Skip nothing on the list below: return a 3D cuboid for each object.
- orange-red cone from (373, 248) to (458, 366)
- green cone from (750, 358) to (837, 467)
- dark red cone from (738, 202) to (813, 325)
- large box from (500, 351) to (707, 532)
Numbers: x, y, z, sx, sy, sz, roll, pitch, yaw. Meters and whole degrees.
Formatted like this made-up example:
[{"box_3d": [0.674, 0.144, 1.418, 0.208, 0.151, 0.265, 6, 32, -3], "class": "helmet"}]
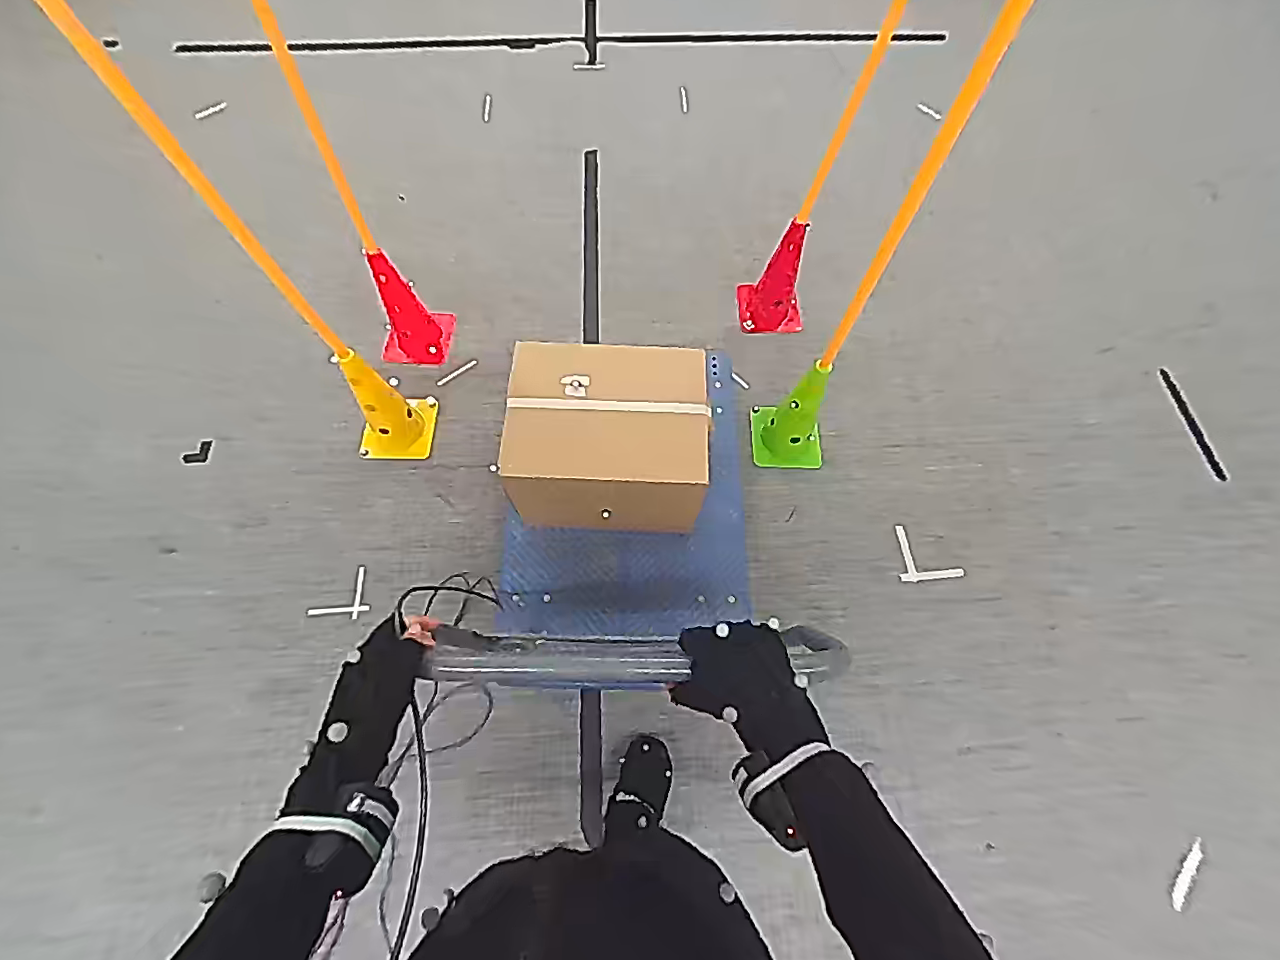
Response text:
[{"box_3d": [-0.689, -0.524, 1.573, 0.198, 0.360, 0.199, 5, 65, 0], "class": "orange-red cone"}, {"box_3d": [0.438, -0.200, 1.449, 0.202, 0.368, 0.200, 2, 66, -1], "class": "green cone"}, {"box_3d": [0.436, -0.652, 1.627, 0.201, 0.394, 0.202, -1, 67, -4], "class": "dark red cone"}, {"box_3d": [-0.066, -0.073, 1.229, 0.408, 0.320, 0.320, 2, 66, 1], "class": "large box"}]
